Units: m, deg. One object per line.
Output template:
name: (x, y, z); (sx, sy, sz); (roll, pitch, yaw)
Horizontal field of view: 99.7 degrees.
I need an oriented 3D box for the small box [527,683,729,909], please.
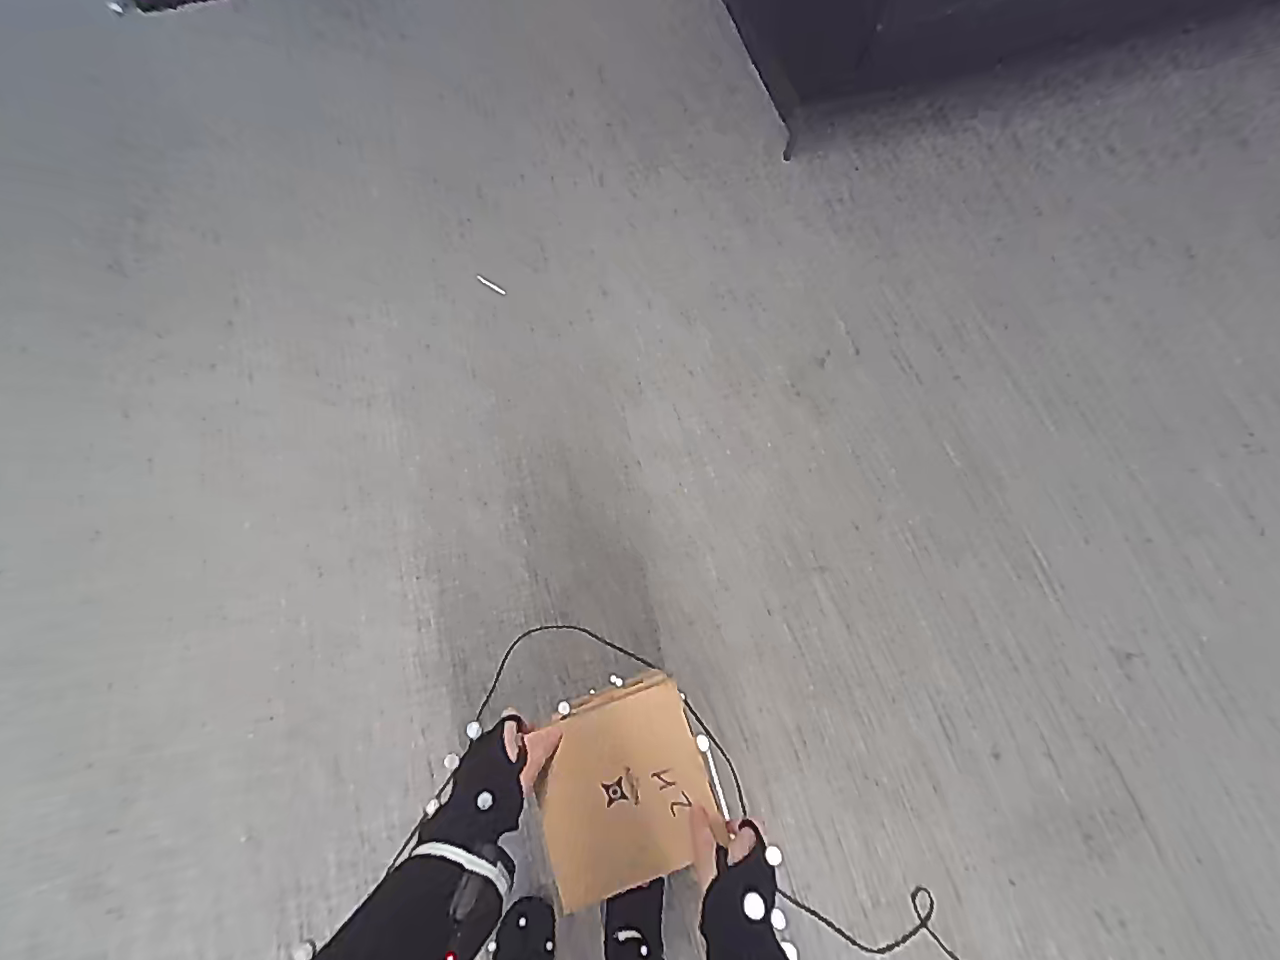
small box: (-0.012, 0.349, 0.634); (0.179, 0.176, 0.168); (-19, 71, -4)
